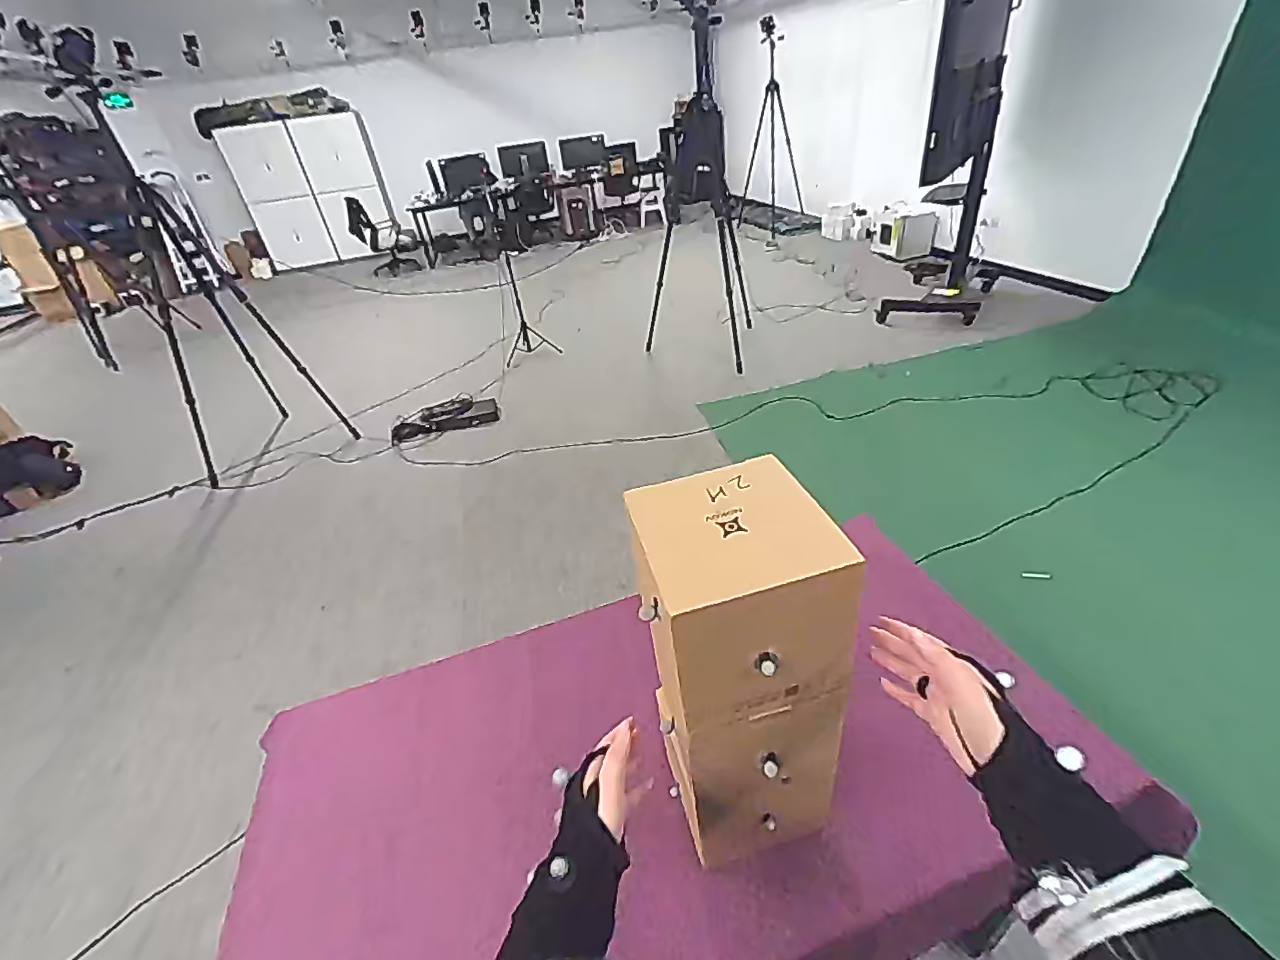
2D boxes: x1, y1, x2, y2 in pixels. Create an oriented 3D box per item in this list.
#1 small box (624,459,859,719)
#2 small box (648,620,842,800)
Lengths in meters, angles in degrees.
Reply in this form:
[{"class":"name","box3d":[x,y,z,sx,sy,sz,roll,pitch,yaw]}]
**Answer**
[{"class":"small box","box3d":[0.091,0.108,0.534,0.168,0.176,0.179,-13,34,-7]},{"class":"small box","box3d":[0.113,0.242,0.630,0.168,0.176,0.179,-13,36,-6]}]
